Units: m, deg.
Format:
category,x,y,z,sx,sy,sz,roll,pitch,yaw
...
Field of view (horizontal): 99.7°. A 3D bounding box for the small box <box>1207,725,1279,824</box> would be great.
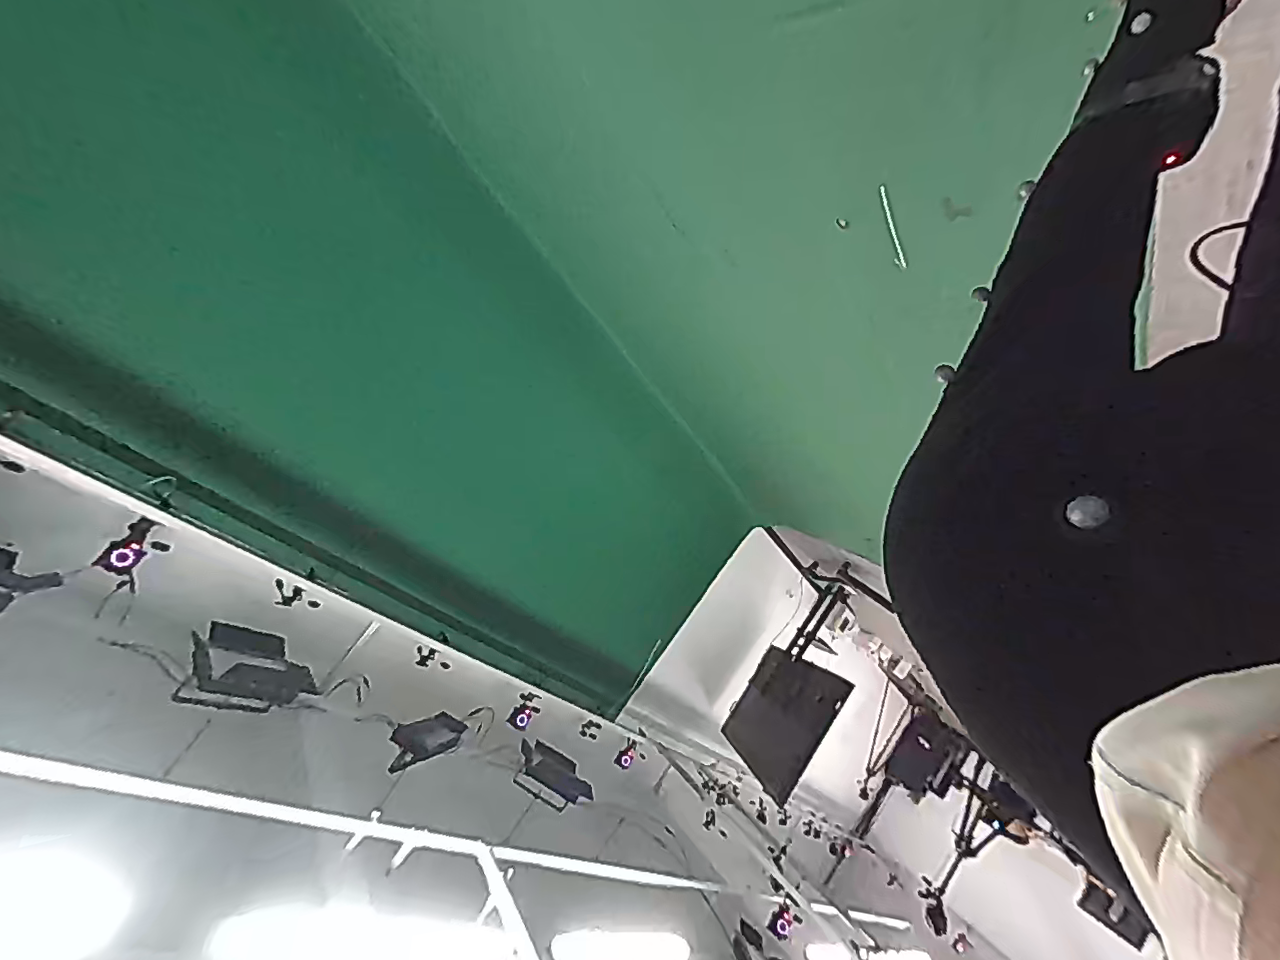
category,x,y,z,sx,sy,sz,roll,pitch,yaw
small box,1.670,0.787,1.444,0.168,0.176,0.179,26,165,51
